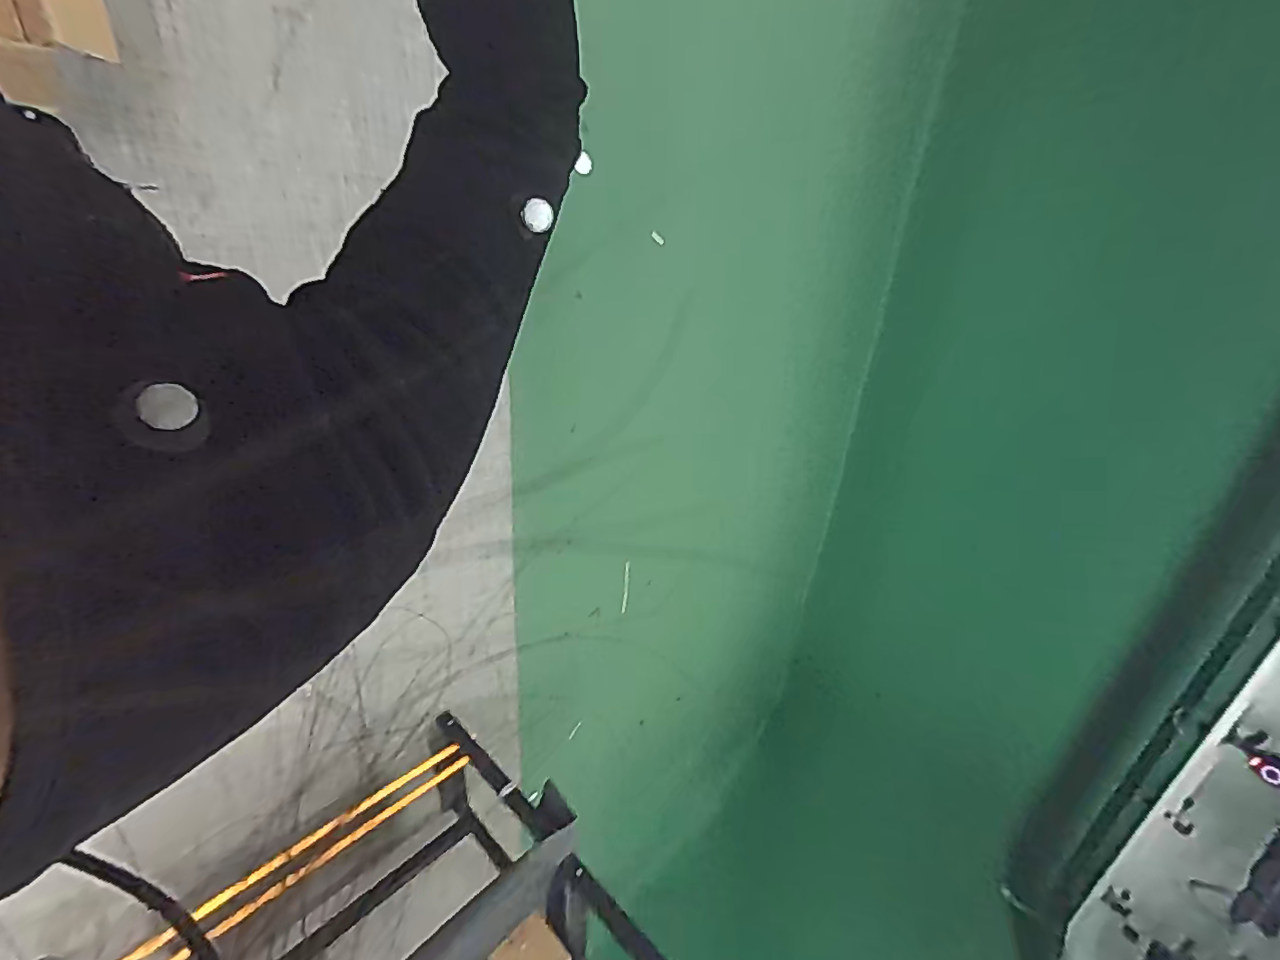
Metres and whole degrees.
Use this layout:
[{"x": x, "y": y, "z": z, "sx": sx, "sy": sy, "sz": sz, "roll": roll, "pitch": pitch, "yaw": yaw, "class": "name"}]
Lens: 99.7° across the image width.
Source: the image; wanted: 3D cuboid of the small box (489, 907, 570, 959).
[{"x": -0.323, "y": 1.409, "z": 1.574, "sx": 0.168, "sy": 0.176, "sz": 0.179, "roll": -23, "pitch": 127, "yaw": -42, "class": "small box"}]
